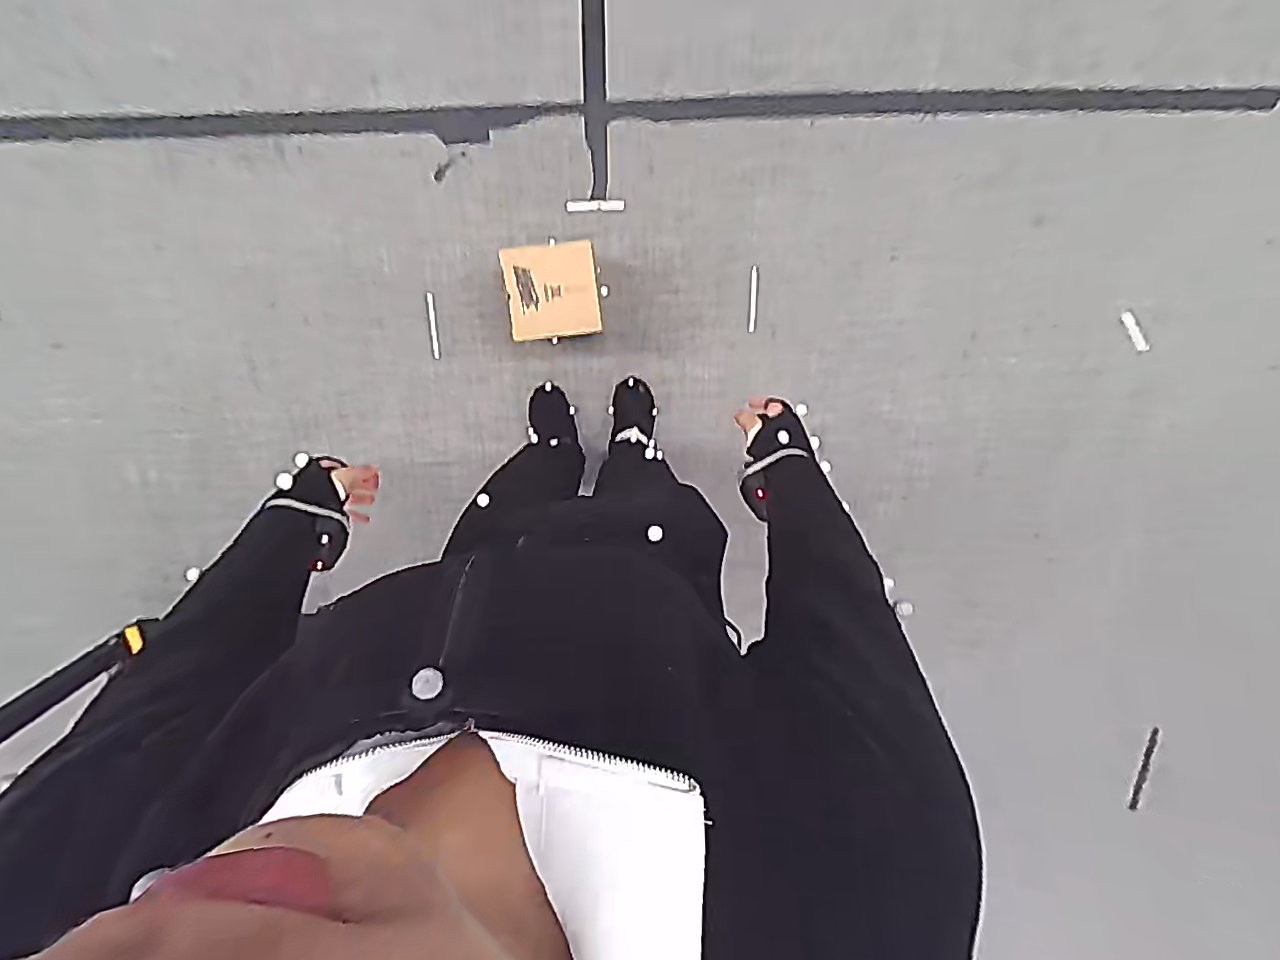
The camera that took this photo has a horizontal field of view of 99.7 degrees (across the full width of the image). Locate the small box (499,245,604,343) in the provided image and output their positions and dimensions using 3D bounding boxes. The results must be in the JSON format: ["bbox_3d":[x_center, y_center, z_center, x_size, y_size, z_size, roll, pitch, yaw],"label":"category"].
[{"bbox_3d":[-0.172,-0.373,1.101,0.179,0.176,0.168,-6,108,0],"label":"small box"}]
